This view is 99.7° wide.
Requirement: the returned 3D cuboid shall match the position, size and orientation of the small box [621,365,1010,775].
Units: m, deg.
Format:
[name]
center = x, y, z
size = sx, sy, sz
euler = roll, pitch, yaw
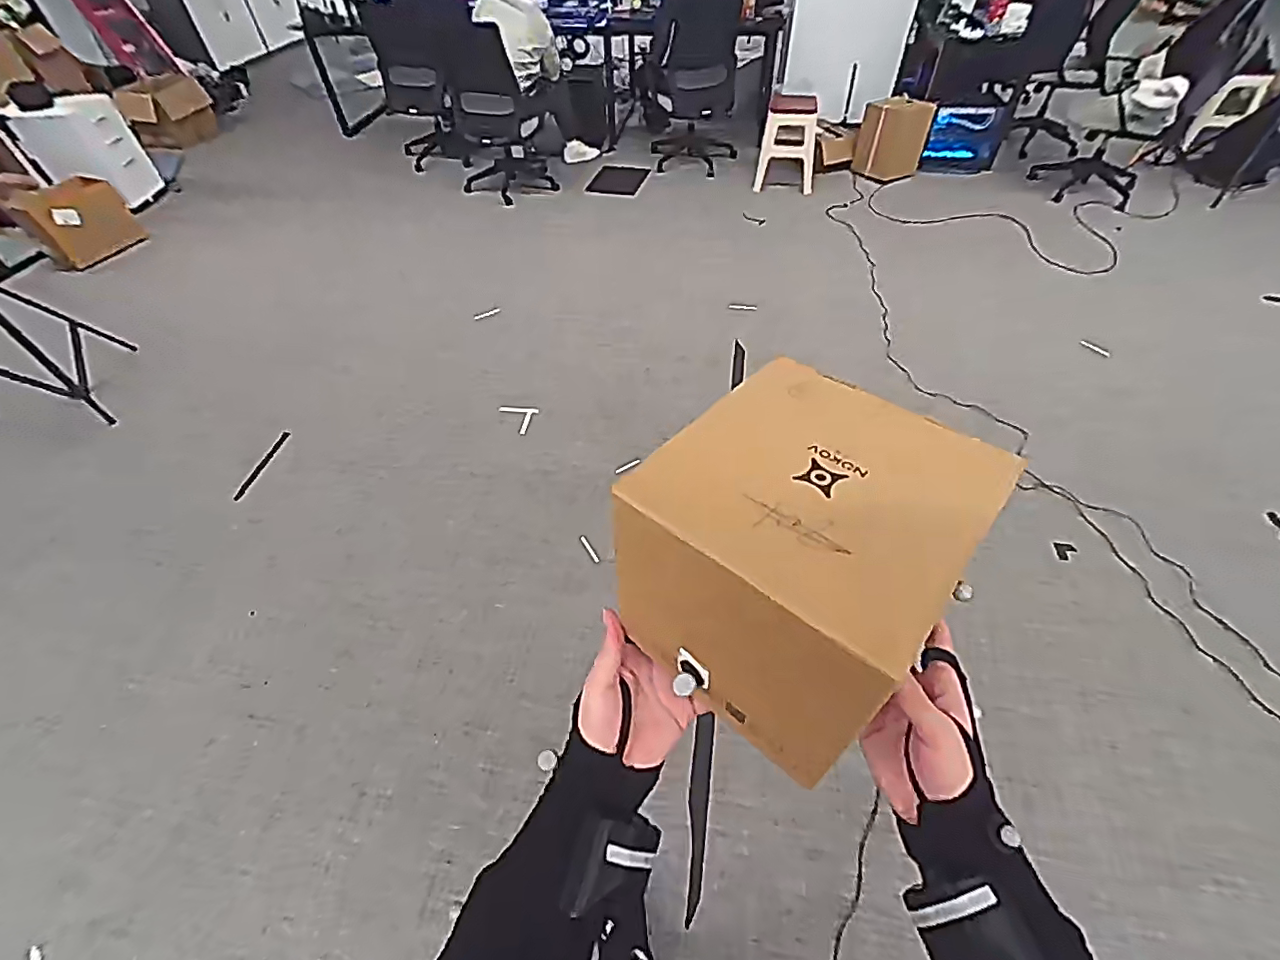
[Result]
[small box]
center = 0.103, 0.056, 0.369
size = 0.168, 0.176, 0.179
euler = 32, 55, 28
